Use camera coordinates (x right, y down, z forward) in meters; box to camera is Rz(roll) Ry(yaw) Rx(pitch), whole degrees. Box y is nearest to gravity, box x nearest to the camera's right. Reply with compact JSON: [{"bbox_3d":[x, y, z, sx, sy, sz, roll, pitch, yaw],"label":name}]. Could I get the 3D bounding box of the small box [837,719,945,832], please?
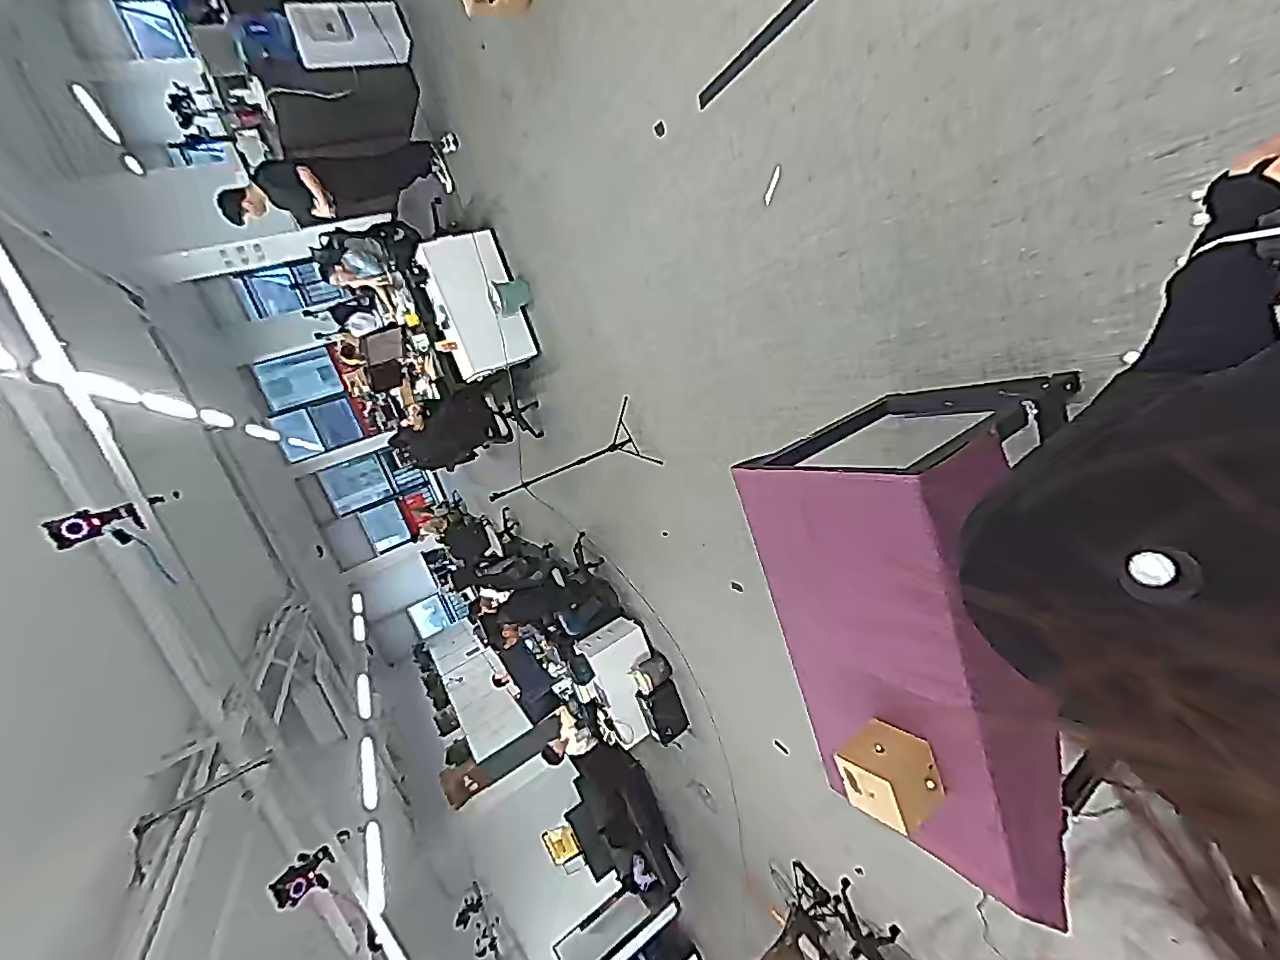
[{"bbox_3d":[0.662,0.764,1.427,0.179,0.176,0.168,-4,110,62],"label":"small box"}]
